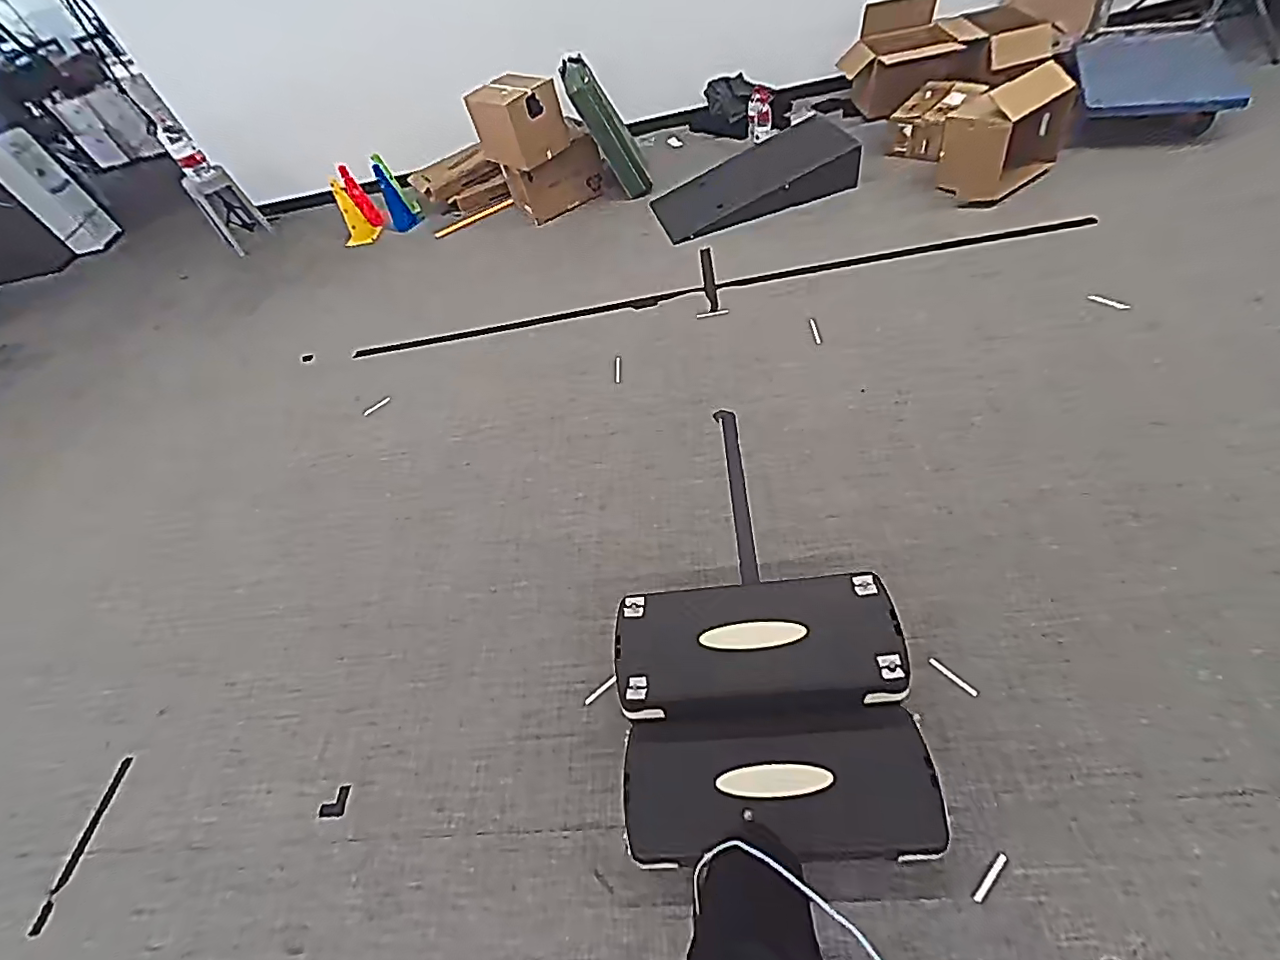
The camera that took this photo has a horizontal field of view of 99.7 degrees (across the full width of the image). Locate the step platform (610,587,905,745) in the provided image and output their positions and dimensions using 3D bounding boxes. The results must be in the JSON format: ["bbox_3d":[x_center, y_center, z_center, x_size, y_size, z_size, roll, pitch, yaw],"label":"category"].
[{"bbox_3d":[0.267,0.454,1.328,0.684,0.204,0.286,-8,52,7],"label":"step platform"}]
